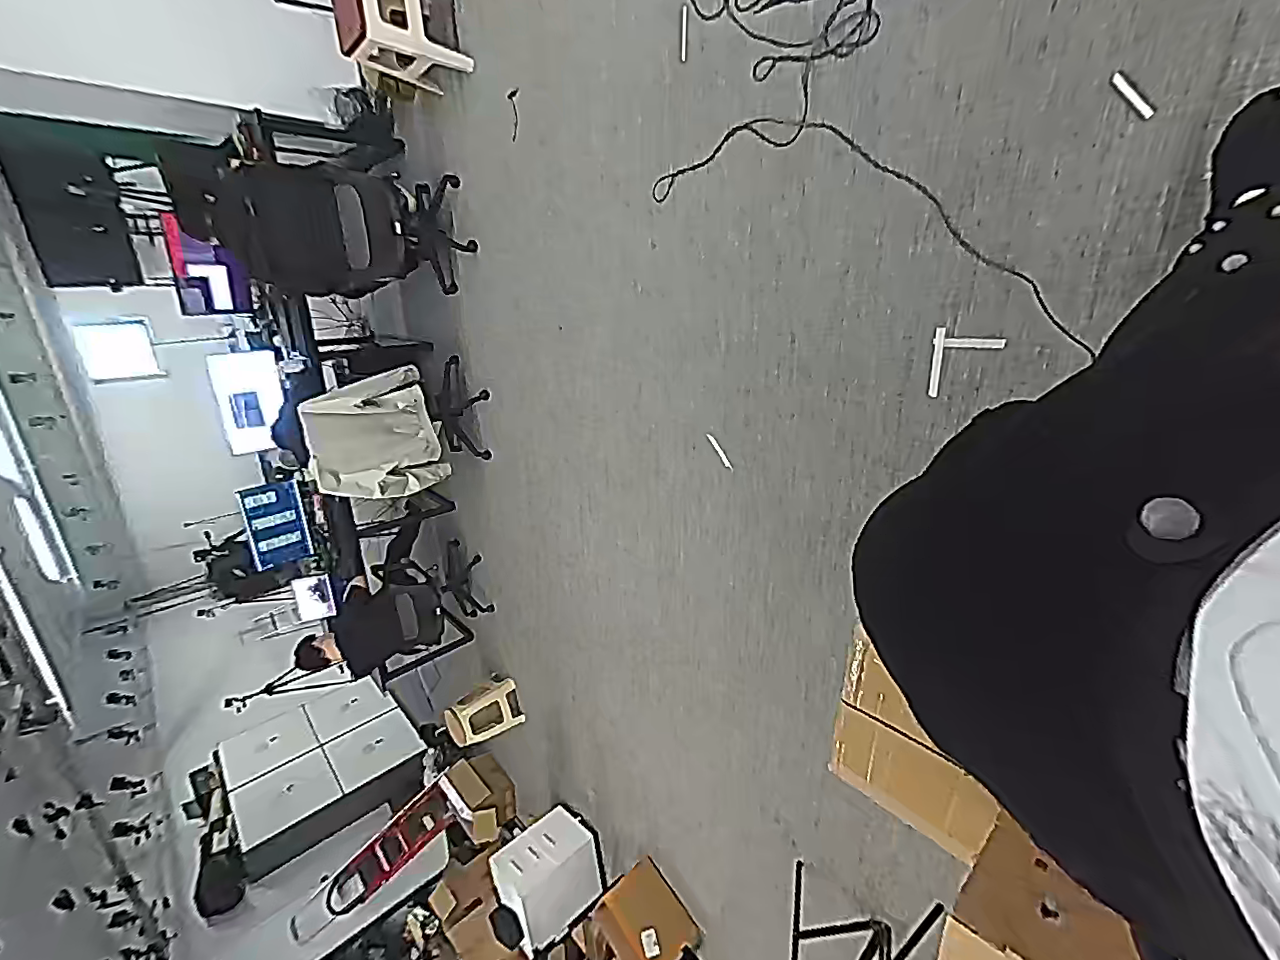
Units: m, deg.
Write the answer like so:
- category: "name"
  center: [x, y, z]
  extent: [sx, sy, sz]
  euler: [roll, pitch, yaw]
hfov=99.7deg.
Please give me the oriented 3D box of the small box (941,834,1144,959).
- category: "small box"
  center: [0.487, 0.594, 0.665]
  extent: [0.168, 0.176, 0.179]
  euler: [17, 115, 45]
